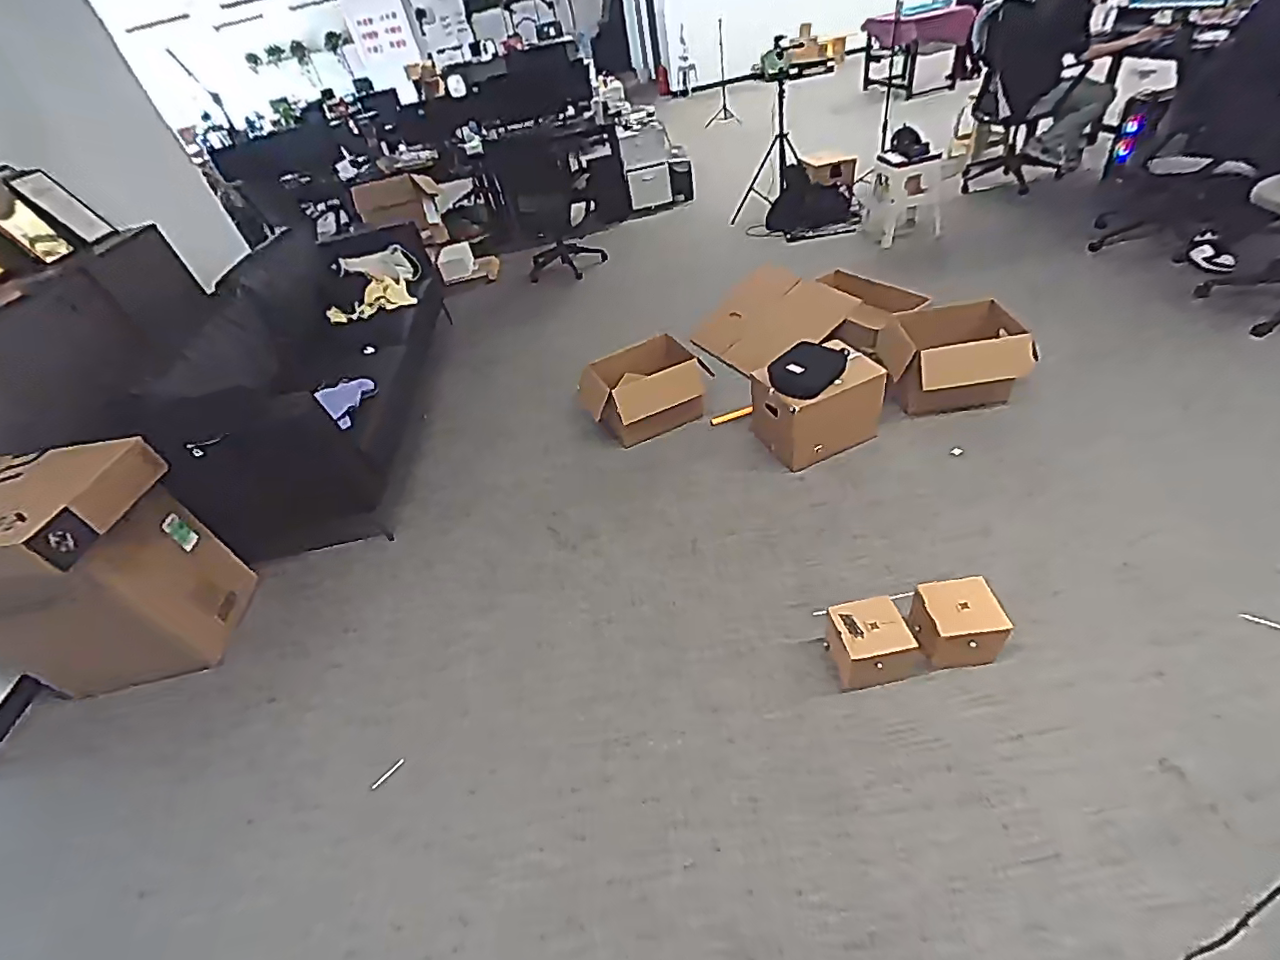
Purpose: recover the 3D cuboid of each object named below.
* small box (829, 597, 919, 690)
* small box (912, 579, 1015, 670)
[{"bbox_3d":[0.628,0.450,1.474,0.179,0.176,0.168,-13,41,2],"label":"small box"},{"bbox_3d":[0.867,0.394,1.468,0.179,0.176,0.168,-10,41,7],"label":"small box"}]
